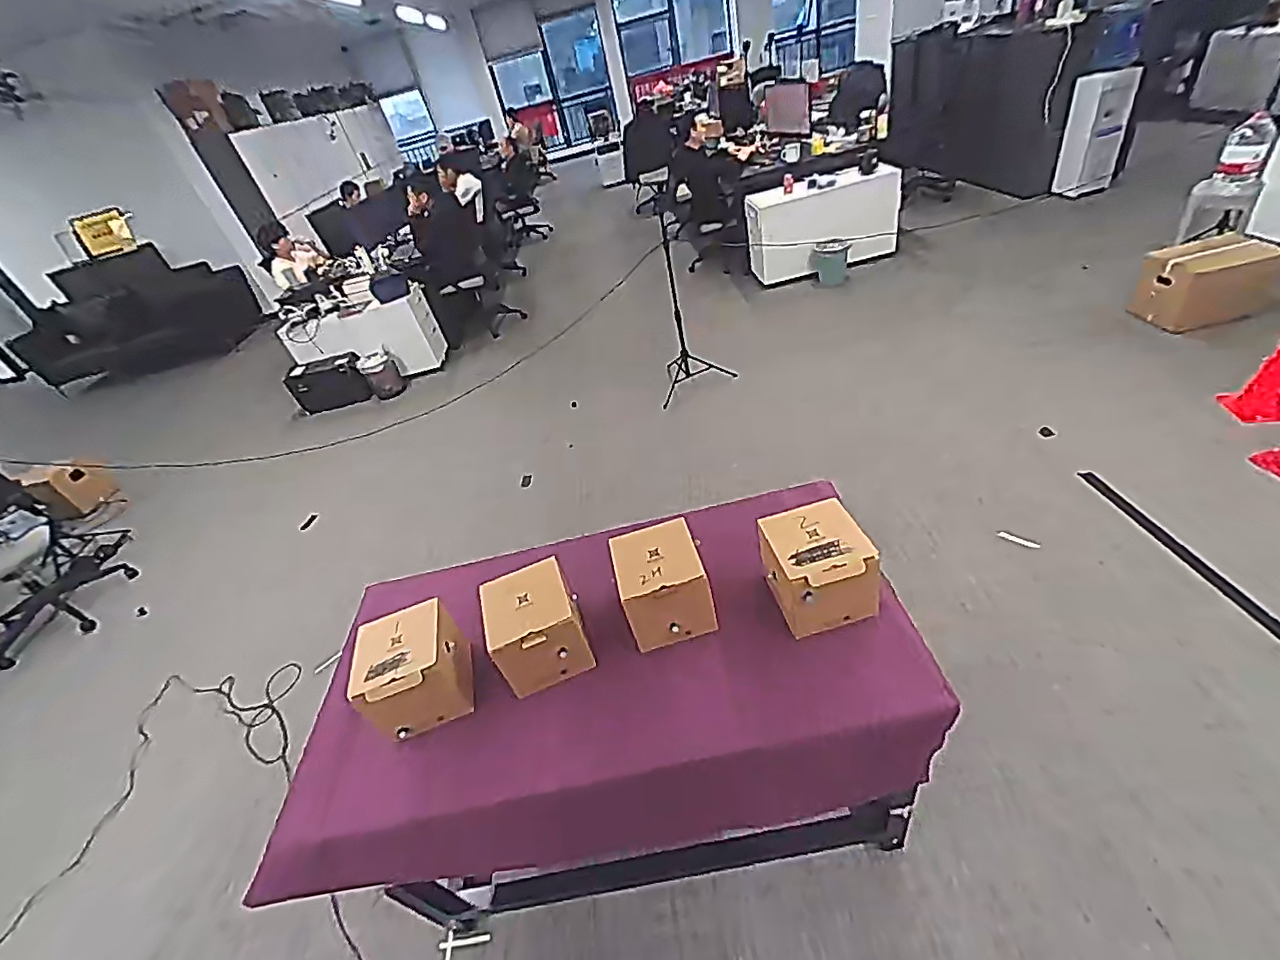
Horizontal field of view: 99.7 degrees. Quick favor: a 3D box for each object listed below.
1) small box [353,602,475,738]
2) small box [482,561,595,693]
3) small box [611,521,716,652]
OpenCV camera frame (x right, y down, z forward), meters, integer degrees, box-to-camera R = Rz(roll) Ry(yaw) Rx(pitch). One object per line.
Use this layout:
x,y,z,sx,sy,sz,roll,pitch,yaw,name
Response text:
-0.441,0.385,1.080,0.168,0.176,0.179,-20,37,-6,small box
-0.204,0.304,1.099,0.168,0.176,0.179,-21,37,-8,small box
0.047,0.219,1.111,0.168,0.176,0.179,-17,38,0,small box
